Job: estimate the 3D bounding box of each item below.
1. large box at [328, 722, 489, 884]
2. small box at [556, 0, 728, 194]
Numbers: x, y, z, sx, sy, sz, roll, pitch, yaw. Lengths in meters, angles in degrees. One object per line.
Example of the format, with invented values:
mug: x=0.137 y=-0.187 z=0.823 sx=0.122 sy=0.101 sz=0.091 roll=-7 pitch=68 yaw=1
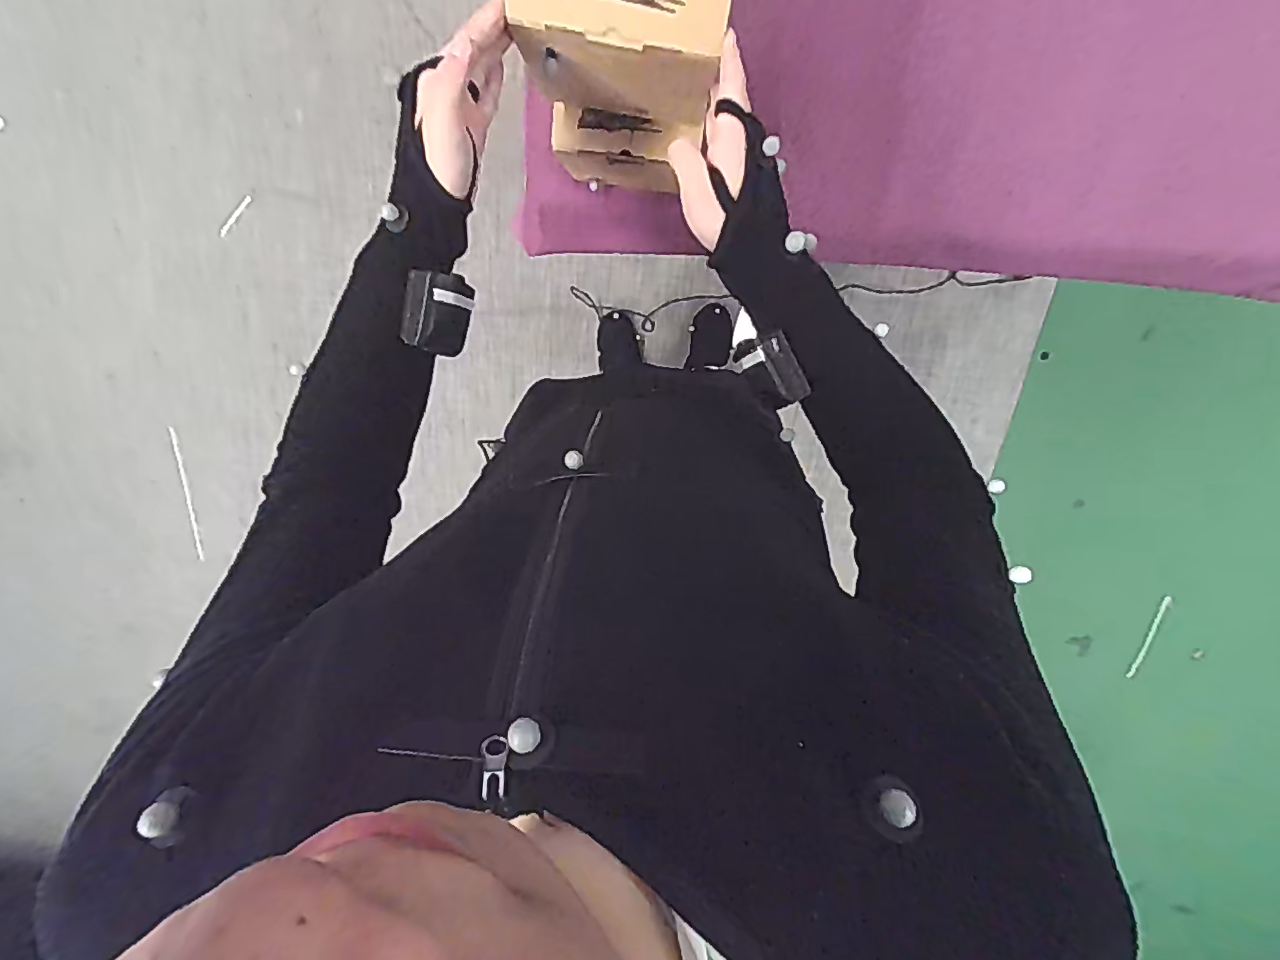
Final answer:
large box: x=-0.832 y=1.171 z=1.982 sx=0.408 sy=0.320 sz=0.320 roll=27 pitch=109 yaw=-8
small box: x=0.003 y=-0.455 z=0.642 sx=0.168 sy=0.176 sz=0.179 roll=7 pitch=108 yaw=0
